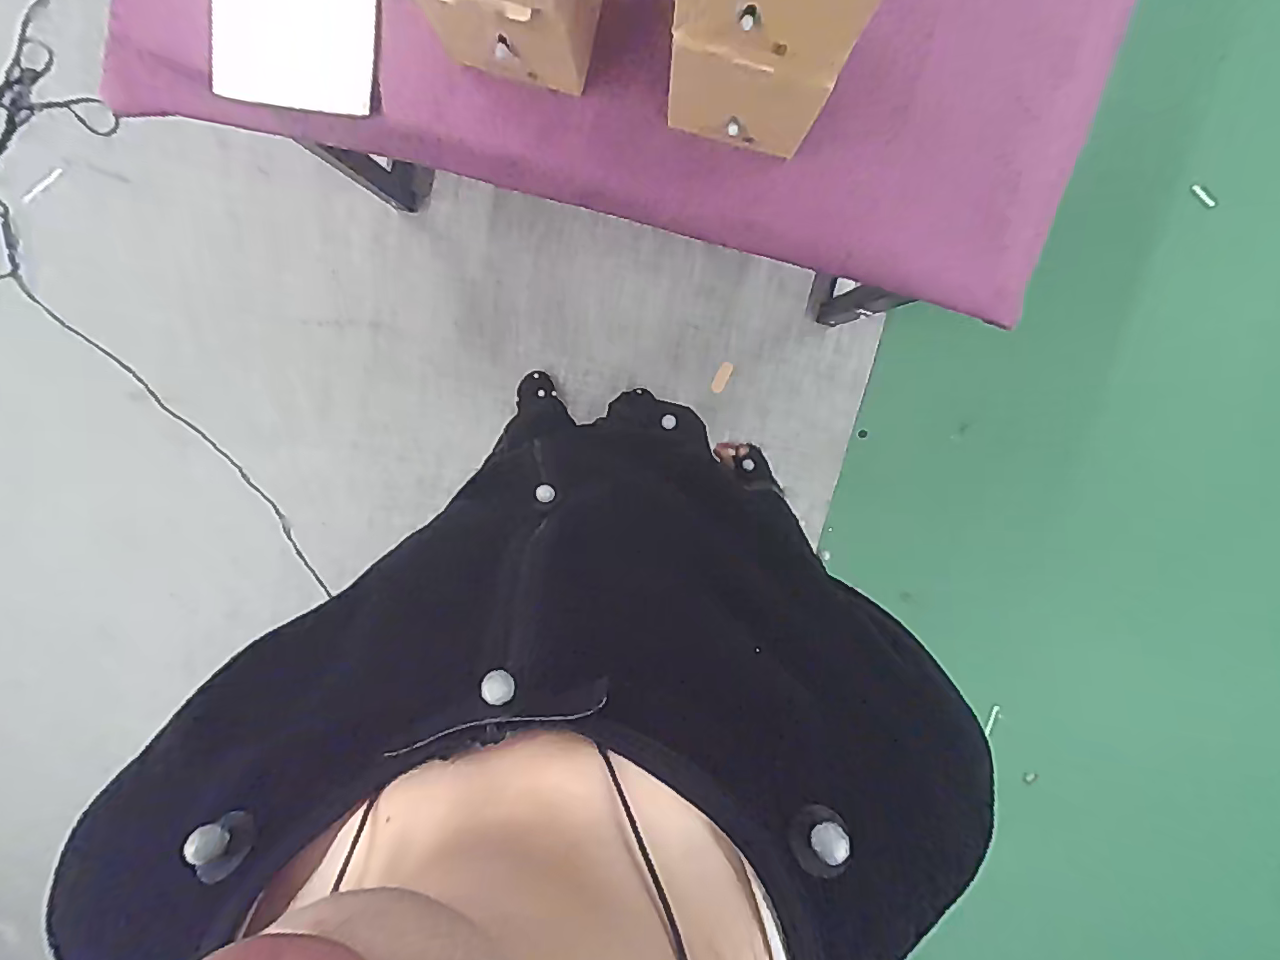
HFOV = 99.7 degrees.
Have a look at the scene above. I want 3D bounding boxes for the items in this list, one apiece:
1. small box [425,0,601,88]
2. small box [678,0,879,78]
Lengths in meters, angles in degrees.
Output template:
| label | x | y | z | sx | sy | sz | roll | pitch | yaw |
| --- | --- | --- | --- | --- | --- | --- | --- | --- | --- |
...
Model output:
| label | x | y | z | sx | sy | sz | roll | pitch | yaw |
| --- | --- | --- | --- | --- | --- | --- | --- | --- | --- |
| small box | -0.133 | -0.575 | 0.589 | 0.168 | 0.176 | 0.179 | 14 | 101 | -2 |
| small box | 0.131 | -0.482 | 0.436 | 0.168 | 0.176 | 0.179 | 15 | 99 | -2 |
